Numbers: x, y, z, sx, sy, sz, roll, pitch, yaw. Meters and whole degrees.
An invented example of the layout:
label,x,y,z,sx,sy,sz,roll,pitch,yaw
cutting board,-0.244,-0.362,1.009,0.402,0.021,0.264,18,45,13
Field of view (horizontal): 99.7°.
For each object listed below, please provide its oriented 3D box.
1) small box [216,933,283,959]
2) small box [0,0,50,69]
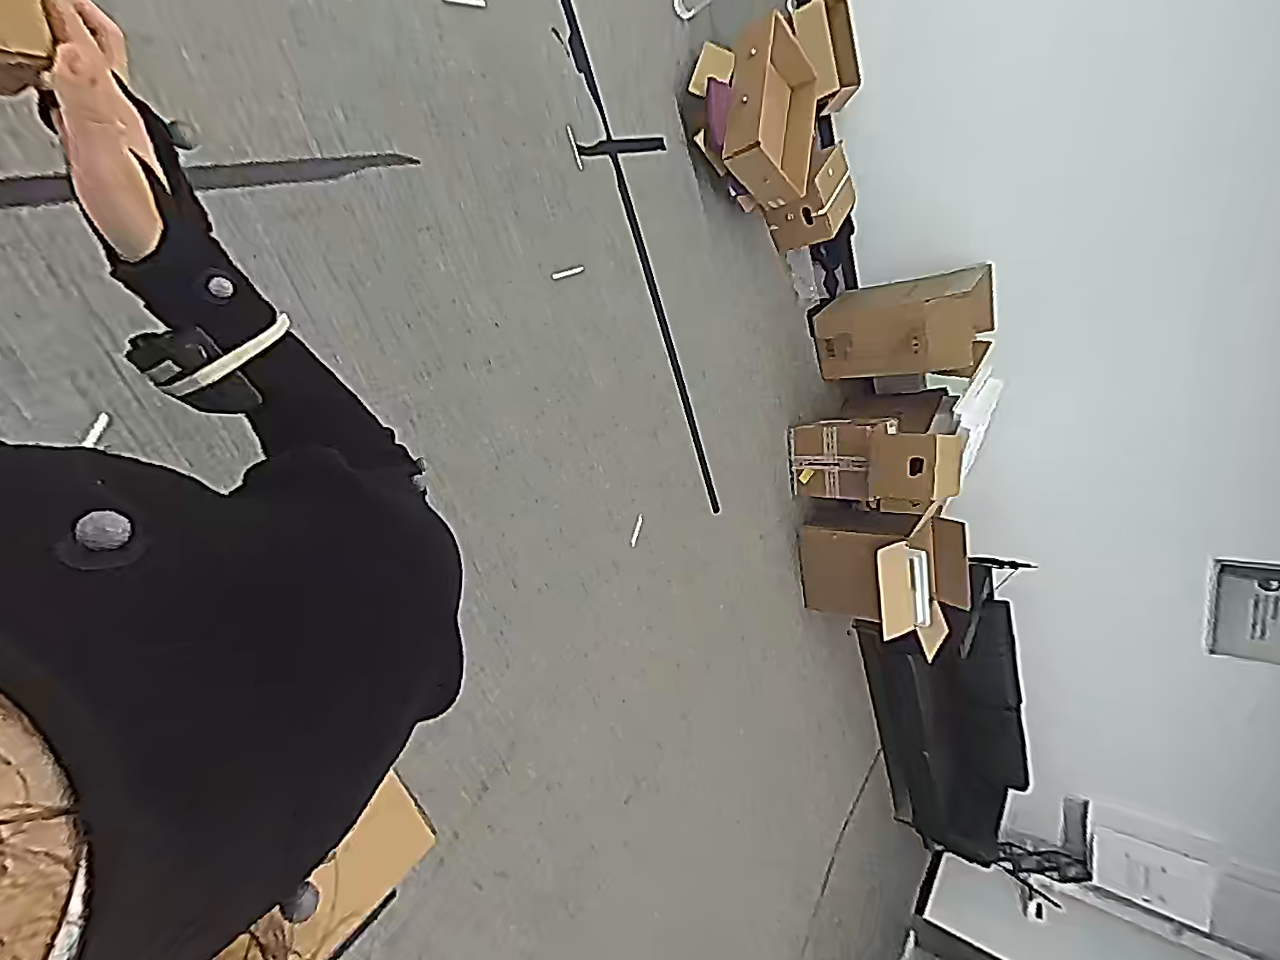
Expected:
label,x,y,z,sx,sy,sz,roll,pitch,yaw
small box,-0.883,1.161,1.180,0.179,0.176,0.168,-44,123,-38
small box,-0.363,-0.278,0.194,0.168,0.176,0.179,-21,125,-47
